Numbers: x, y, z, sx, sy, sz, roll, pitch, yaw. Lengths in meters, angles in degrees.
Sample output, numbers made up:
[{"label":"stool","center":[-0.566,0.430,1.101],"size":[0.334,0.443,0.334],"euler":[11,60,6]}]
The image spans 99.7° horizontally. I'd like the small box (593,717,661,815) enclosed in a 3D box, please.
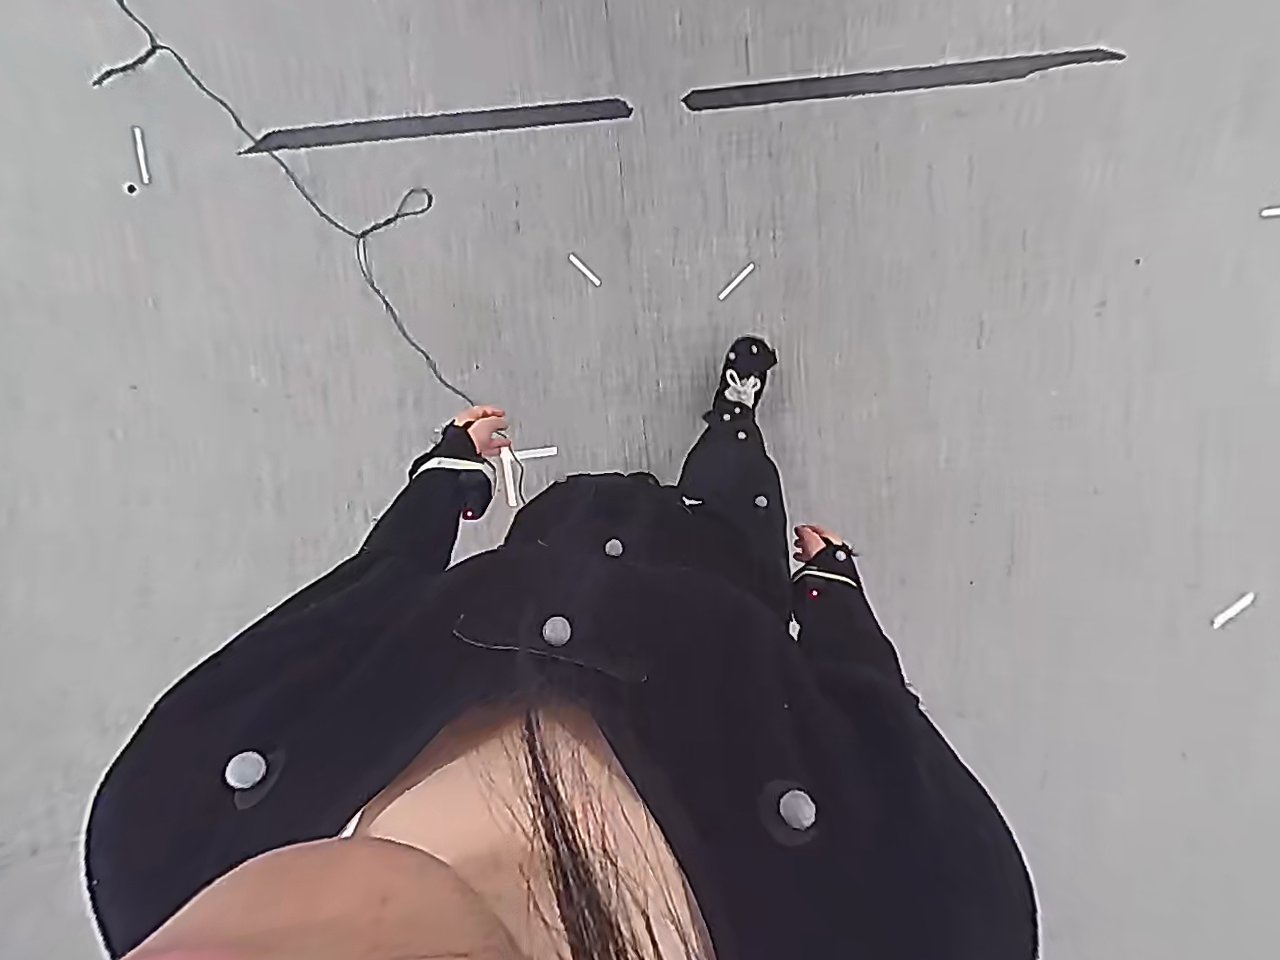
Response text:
[{"label":"small box","center":[-0.031,0.784,1.493],"size":[0.168,0.176,0.179],"euler":[-5,97,4]}]
